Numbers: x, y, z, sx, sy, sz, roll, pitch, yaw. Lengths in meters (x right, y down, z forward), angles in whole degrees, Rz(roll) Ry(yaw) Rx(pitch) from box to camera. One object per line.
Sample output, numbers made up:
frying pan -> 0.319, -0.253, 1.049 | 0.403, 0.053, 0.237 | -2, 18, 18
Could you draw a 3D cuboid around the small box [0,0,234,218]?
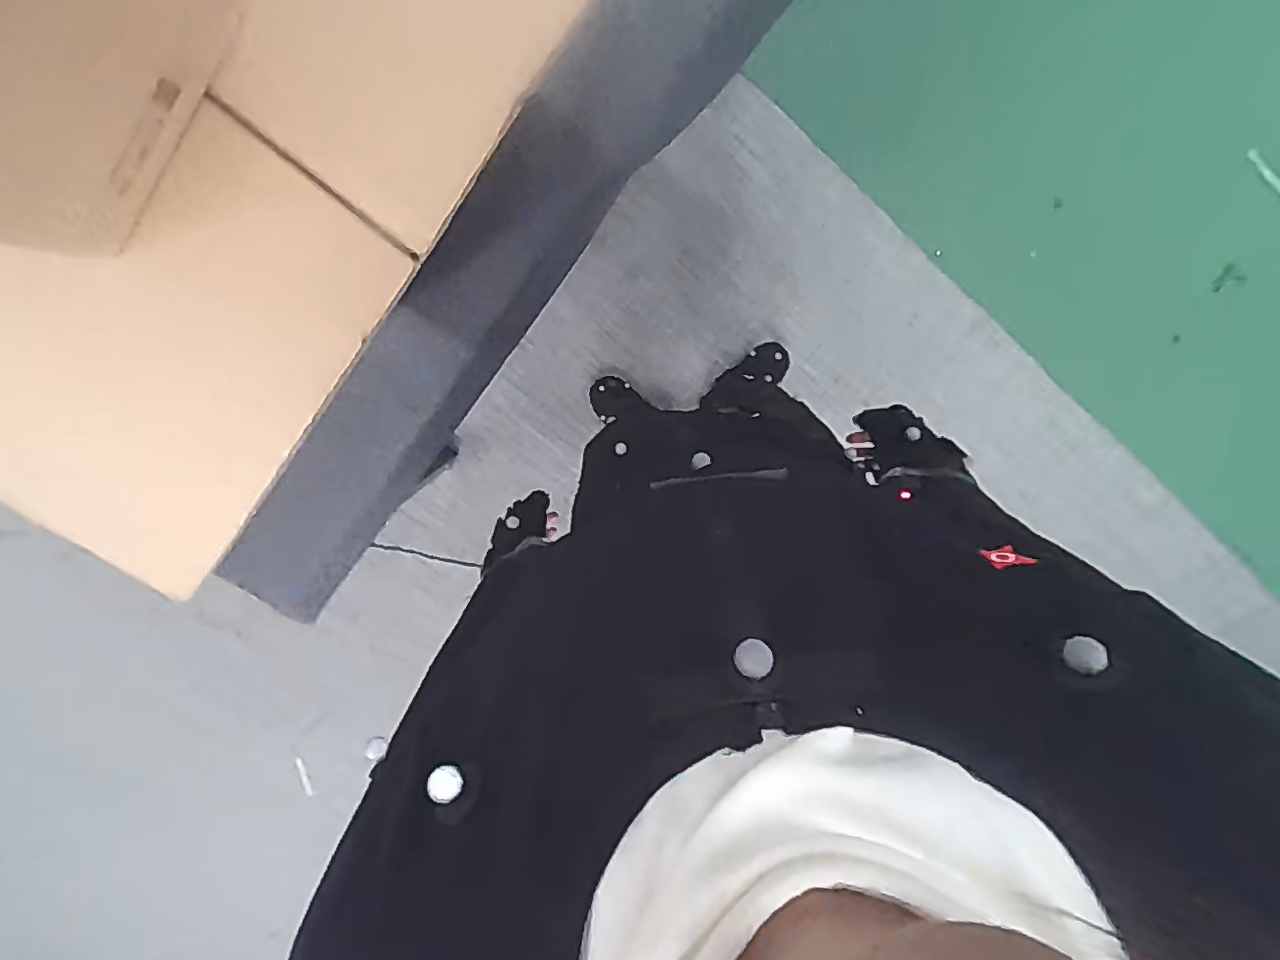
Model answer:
small box -> -0.325, -0.234, 0.210 | 0.179, 0.176, 0.168 | 37, 101, -11
